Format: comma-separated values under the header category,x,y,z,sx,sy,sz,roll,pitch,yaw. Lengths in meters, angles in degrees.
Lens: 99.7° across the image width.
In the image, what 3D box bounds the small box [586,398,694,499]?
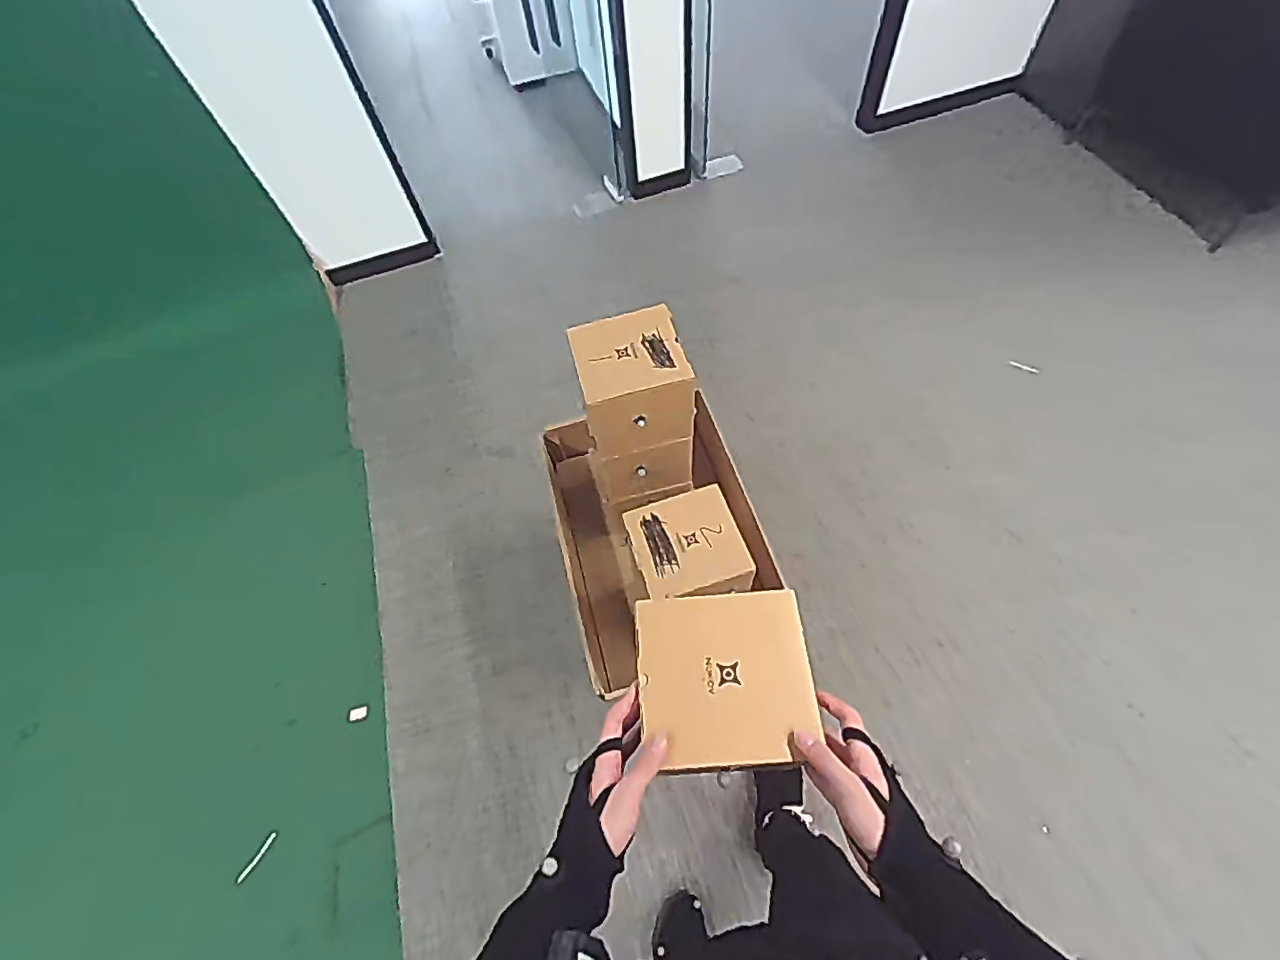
category,x,y,z,sx,sy,sz,roll,pitch,yaw
small box,0.004,-0.080,1.076,0.179,0.176,0.168,-14,62,-3

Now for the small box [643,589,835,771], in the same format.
category,x,y,z,sx,sy,sz,roll,pitch,yaw
small box,0.097,0.232,0.614,0.179,0.176,0.168,-5,60,1

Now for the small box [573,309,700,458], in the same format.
category,x,y,z,sx,sy,sz,roll,pitch,yaw
small box,-0.005,-0.161,0.932,0.179,0.176,0.168,-15,61,-4

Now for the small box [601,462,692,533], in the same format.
category,x,y,z,sx,sy,sz,roll,pitch,yaw
small box,0.013,0.002,1.217,0.179,0.176,0.168,-12,61,-4

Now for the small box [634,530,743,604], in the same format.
category,x,y,z,sx,sy,sz,roll,pitch,yaw
small box,0.095,0.225,1.080,0.179,0.176,0.168,-16,60,-5
